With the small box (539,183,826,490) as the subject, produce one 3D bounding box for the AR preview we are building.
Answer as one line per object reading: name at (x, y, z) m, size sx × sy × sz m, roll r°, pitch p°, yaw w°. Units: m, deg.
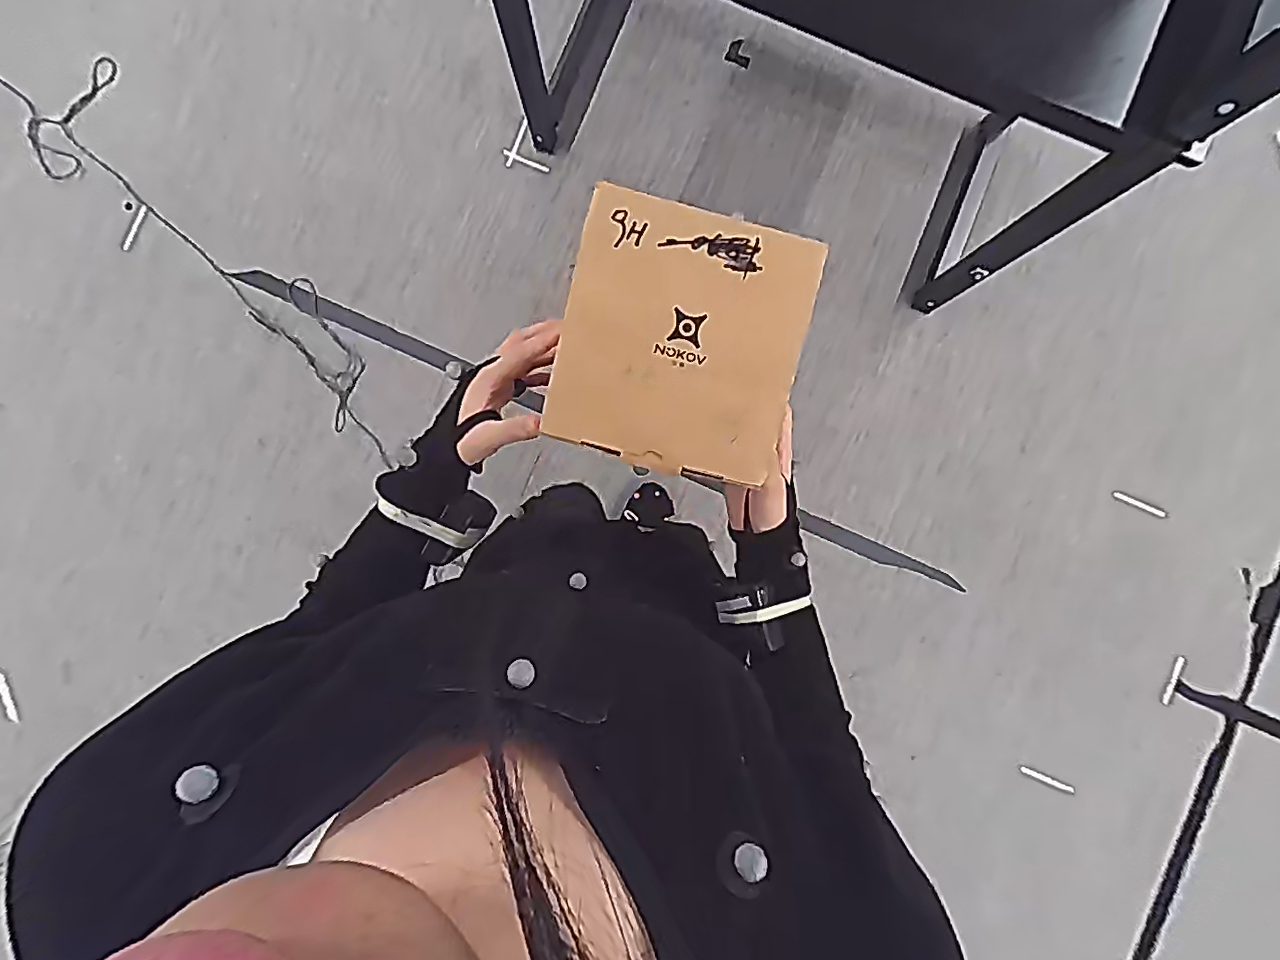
small box at (0.026, -0.104, 0.451) m, size 0.168 × 0.176 × 0.179 m, roll 14°, pitch 96°, yaw -4°
